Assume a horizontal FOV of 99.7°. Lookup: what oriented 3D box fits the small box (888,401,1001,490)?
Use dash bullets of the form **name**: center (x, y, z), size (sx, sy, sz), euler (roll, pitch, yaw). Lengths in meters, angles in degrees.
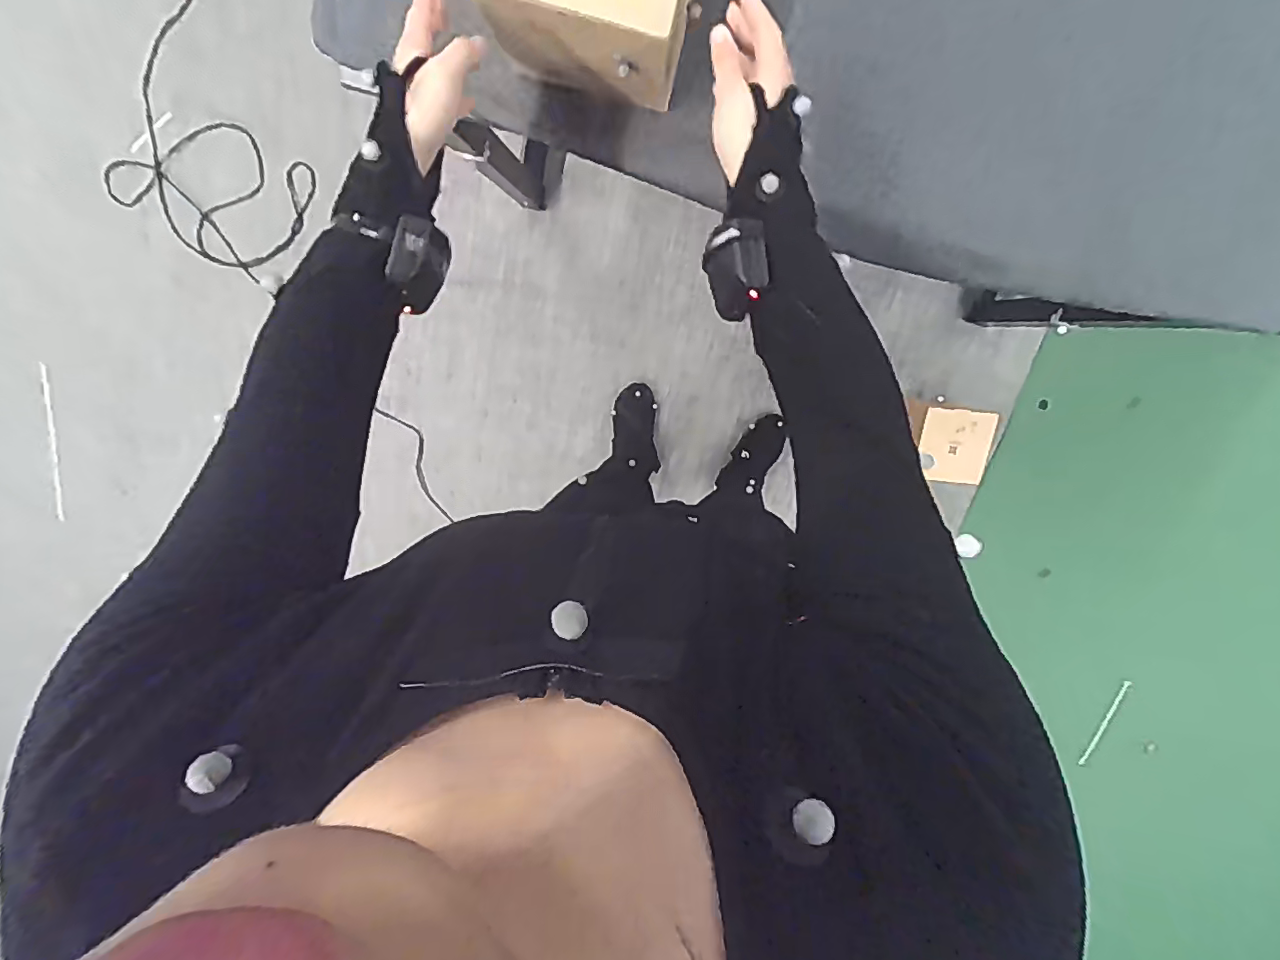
- **small box**: center (0.736, -0.089, 1.331), size (0.168, 0.176, 0.179), euler (6, 106, 0)
